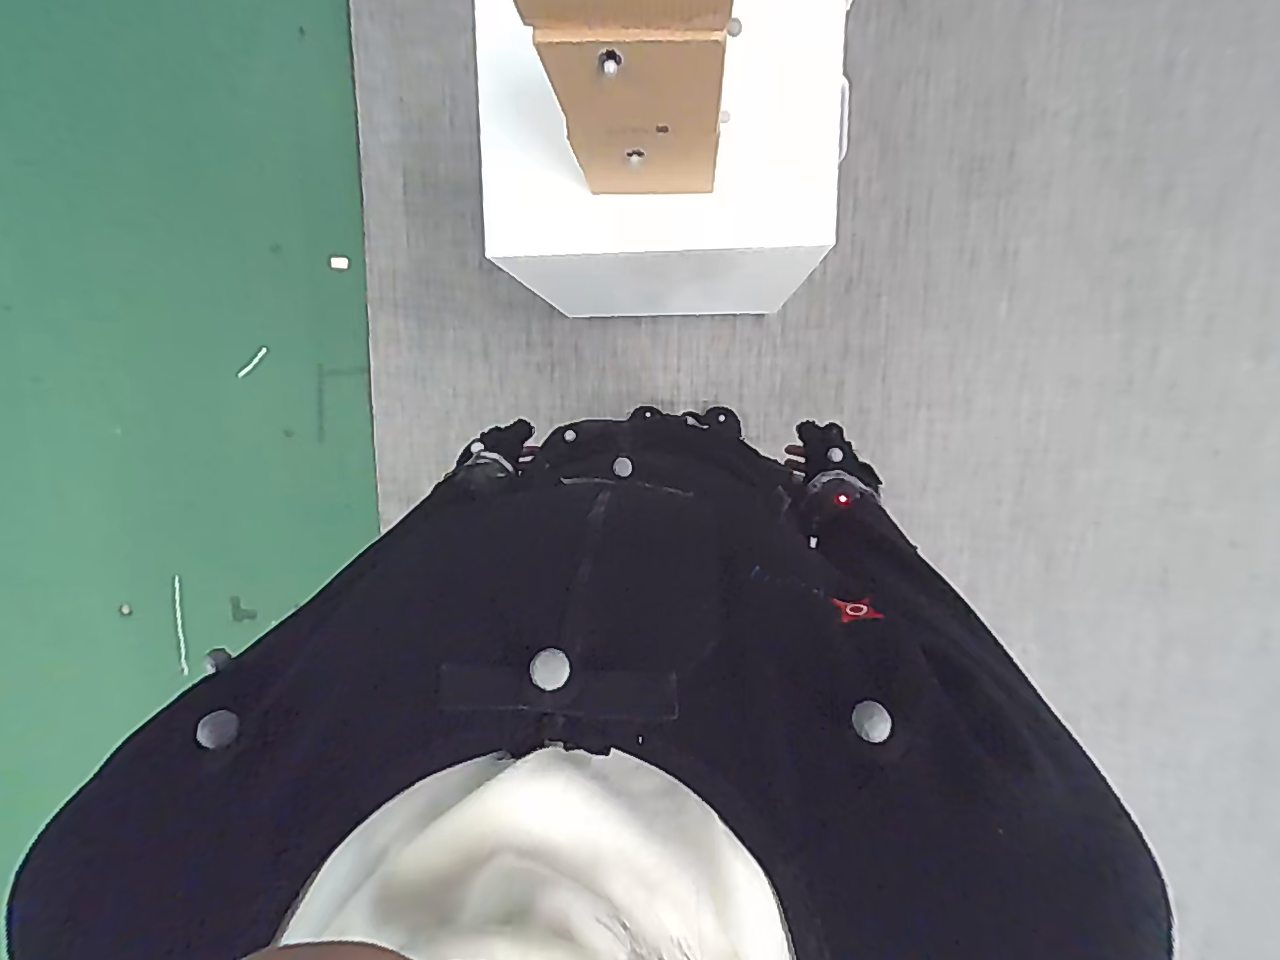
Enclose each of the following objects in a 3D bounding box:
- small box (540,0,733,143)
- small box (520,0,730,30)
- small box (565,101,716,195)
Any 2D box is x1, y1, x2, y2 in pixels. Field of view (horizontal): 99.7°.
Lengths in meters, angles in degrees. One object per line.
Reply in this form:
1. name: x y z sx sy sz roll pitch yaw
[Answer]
1. small box: 0.002 -0.463 0.527 0.168 0.176 0.179 1 98 4
2. small box: -0.016 -0.447 0.364 0.179 0.176 0.168 4 100 4
3. small box: 0.010 -0.480 0.687 0.179 0.176 0.168 2 97 5
